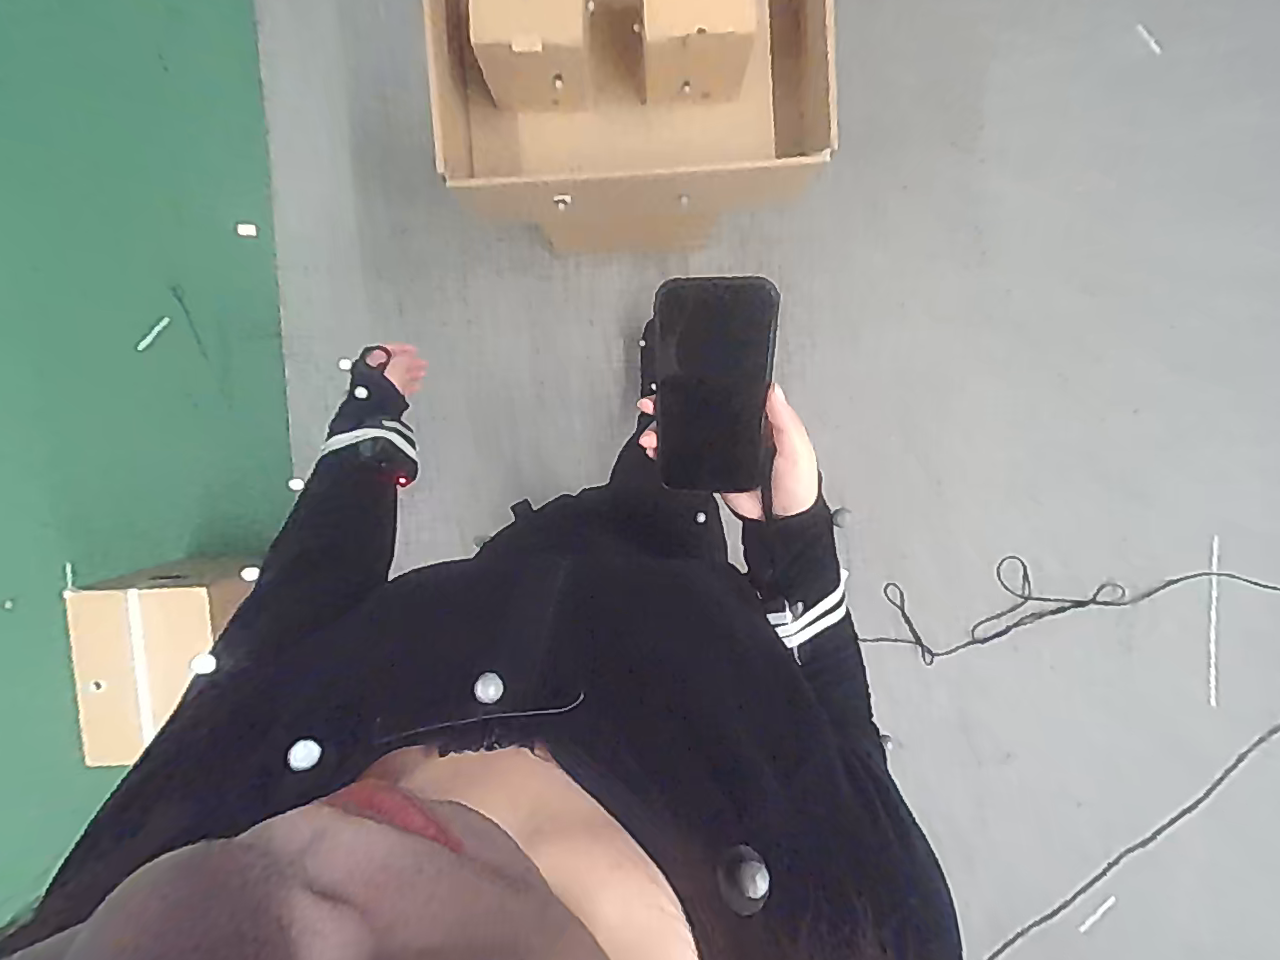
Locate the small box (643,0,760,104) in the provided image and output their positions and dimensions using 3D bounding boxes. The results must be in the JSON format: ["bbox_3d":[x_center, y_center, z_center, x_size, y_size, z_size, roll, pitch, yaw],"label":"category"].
[{"bbox_3d":[0.089,-0.737,0.854,0.168,0.176,0.179,-3,96,1],"label":"small box"}]
